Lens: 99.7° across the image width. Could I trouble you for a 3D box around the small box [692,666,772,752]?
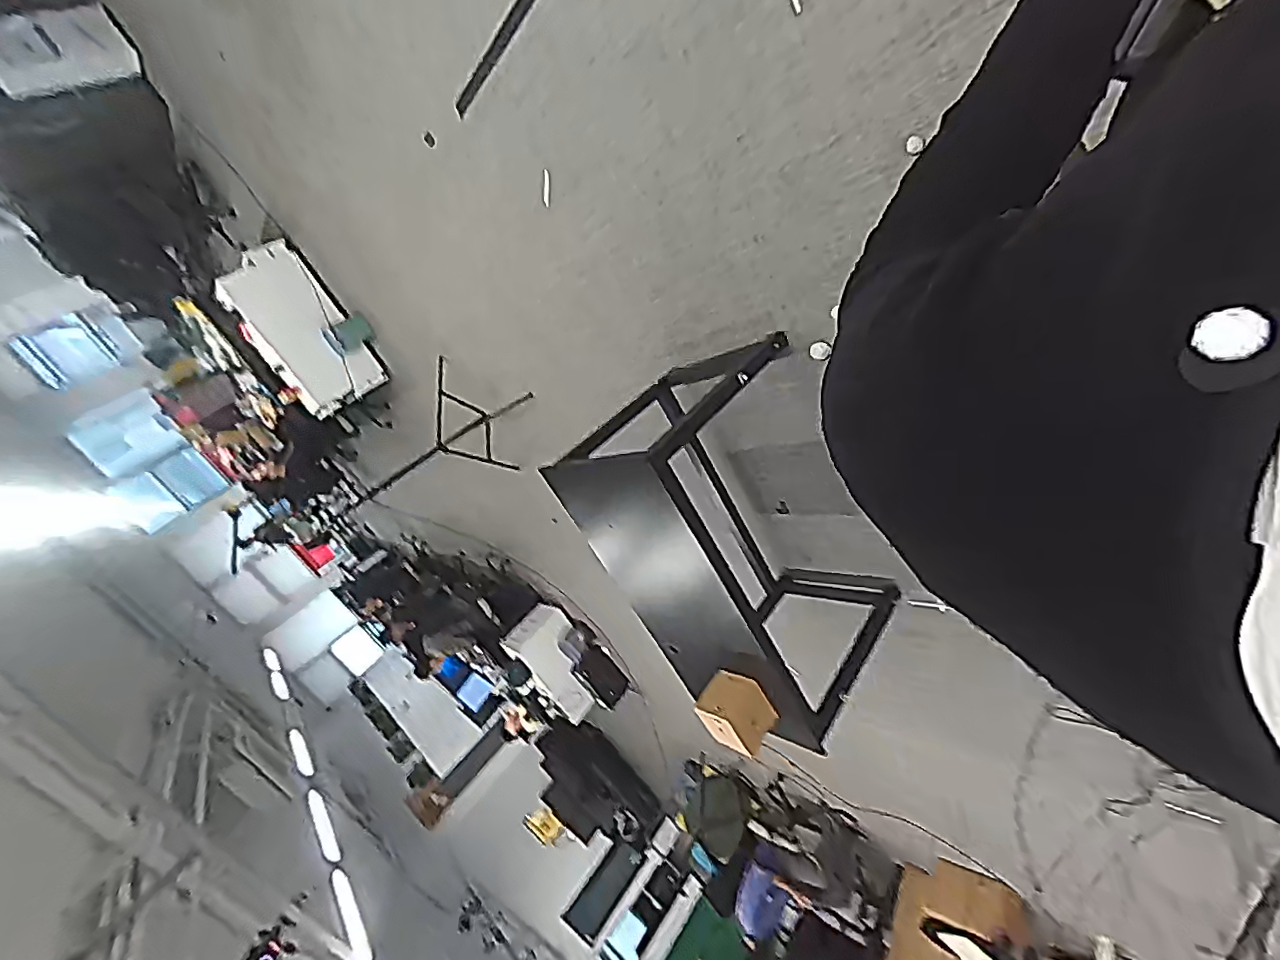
[{"bbox_3d":[0.313,0.761,1.812,0.168,0.176,0.179,-6,122,54],"label":"small box"}]
